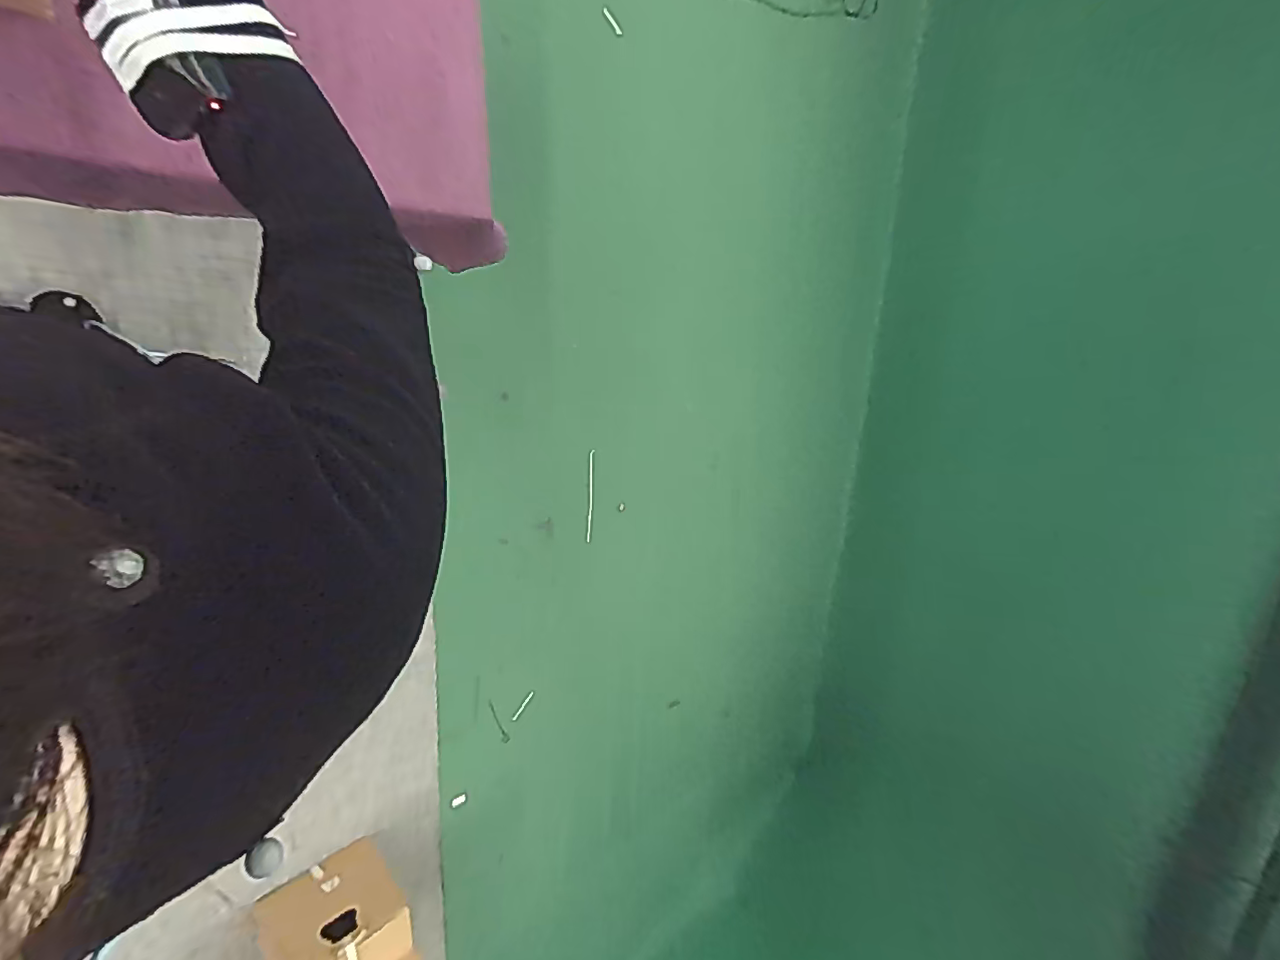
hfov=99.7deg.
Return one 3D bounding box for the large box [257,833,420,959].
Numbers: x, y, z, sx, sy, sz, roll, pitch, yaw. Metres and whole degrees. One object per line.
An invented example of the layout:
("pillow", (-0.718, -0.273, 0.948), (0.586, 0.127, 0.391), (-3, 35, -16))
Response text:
("large box", (-0.869, 1.368, 1.581), (0.320, 0.320, 0.408), (-14, 114, -44))
